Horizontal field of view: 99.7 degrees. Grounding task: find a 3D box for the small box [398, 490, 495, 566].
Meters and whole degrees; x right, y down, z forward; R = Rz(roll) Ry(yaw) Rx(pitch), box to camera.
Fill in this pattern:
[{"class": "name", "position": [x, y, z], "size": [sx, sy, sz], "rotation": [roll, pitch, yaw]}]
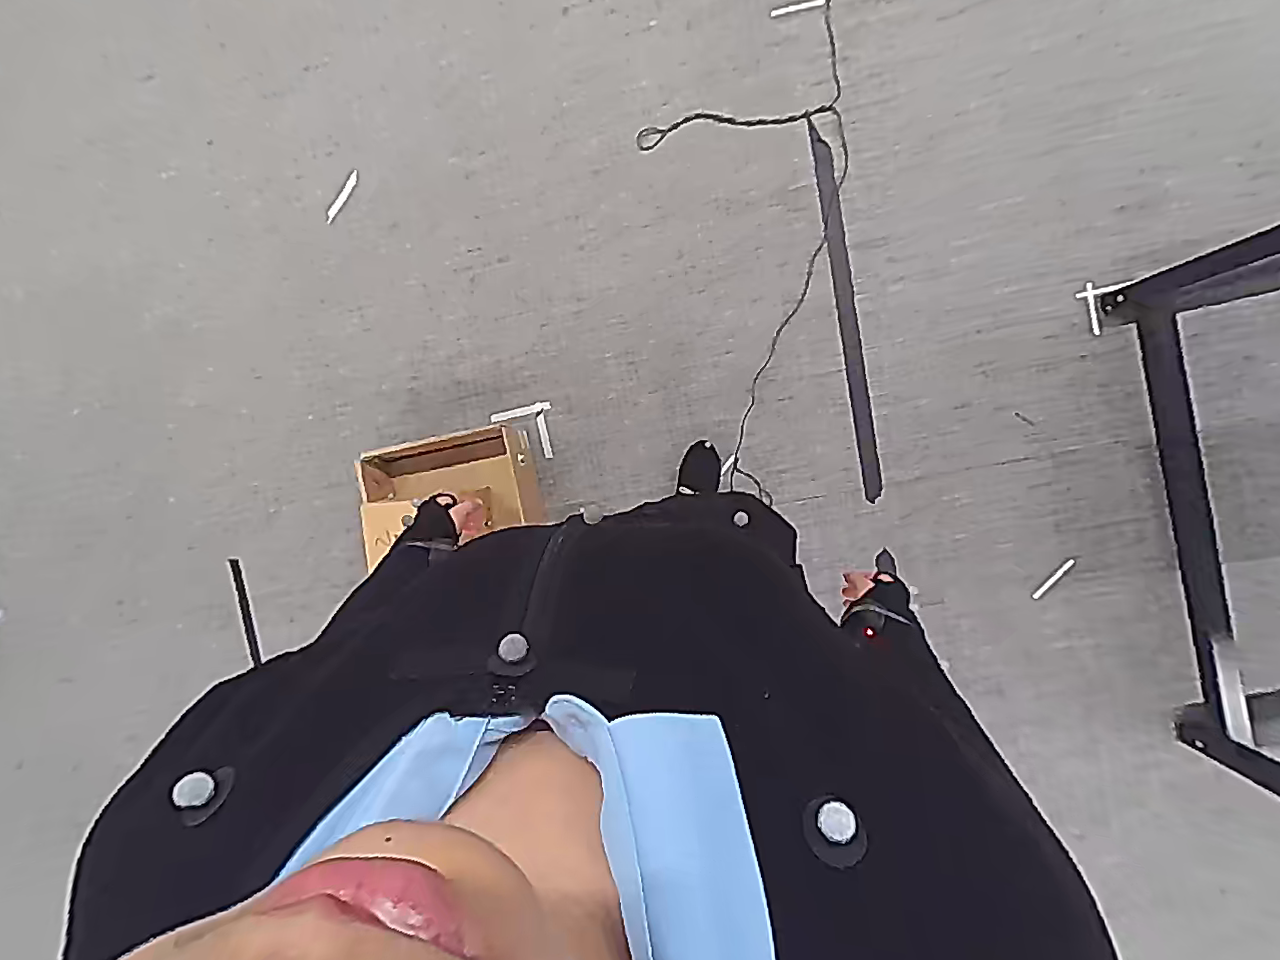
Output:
[{"class": "small box", "position": [-0.496, 0.120, 1.407], "size": [0.179, 0.176, 0.168], "rotation": [-7, 94, 3]}]
